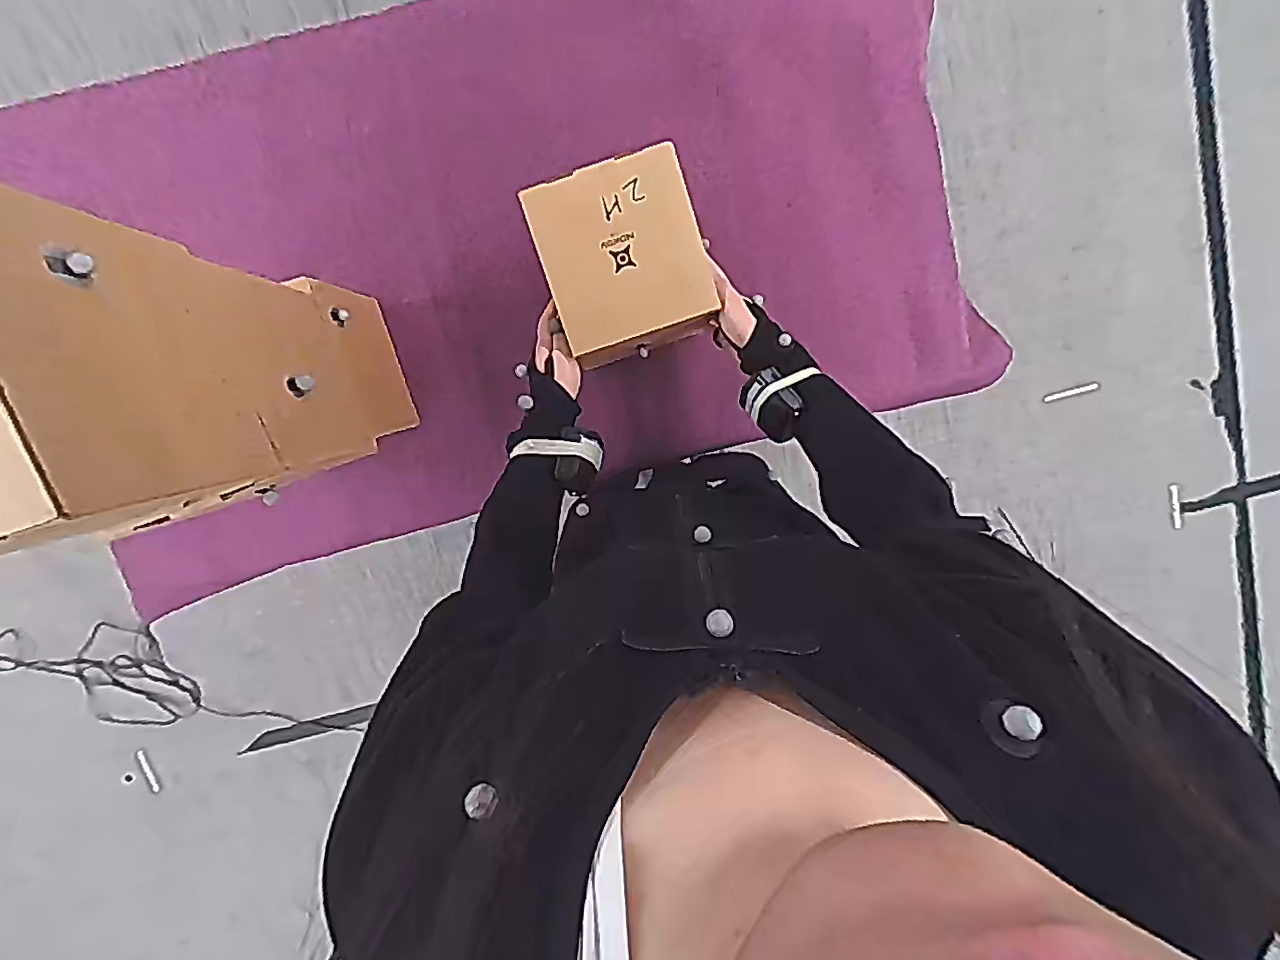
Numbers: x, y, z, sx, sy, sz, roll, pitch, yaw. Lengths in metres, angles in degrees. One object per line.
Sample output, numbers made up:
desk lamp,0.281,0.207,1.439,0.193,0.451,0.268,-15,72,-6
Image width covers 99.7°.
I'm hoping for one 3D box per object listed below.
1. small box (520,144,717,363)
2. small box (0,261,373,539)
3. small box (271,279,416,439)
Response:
small box,-0.021,-0.244,0.637,0.168,0.176,0.179,-18,96,1
small box,-0.382,-0.072,0.495,0.168,0.176,0.179,-20,101,1
small box,-0.398,-0.121,0.652,0.168,0.176,0.179,-16,100,1
